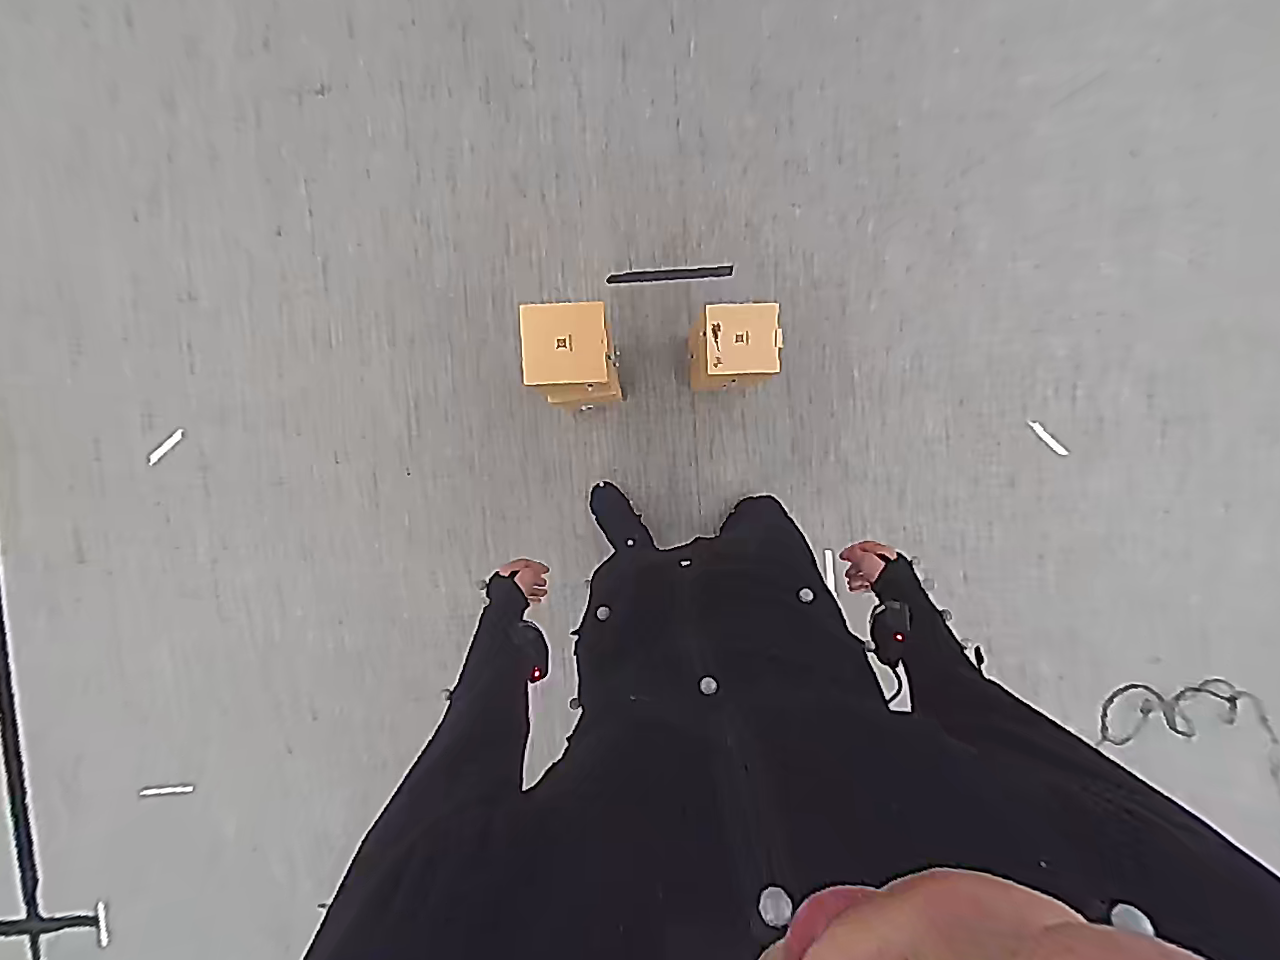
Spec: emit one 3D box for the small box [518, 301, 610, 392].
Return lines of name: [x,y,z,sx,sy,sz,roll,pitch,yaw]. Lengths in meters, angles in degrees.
small box: [-0.160,-0.285,1.184,0.179,0.176,0.168,-3,93,-1]

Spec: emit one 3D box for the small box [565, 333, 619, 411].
small box: [-0.153,-0.297,1.510,0.168,0.176,0.179,-10,94,-1]

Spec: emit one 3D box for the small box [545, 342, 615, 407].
small box: [-0.154,-0.283,1.347,0.168,0.176,0.179,-8,94,-1]

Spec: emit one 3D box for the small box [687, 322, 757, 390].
small box: [0.225,-0.346,1.522,0.179,0.176,0.168,-3,94,-3]

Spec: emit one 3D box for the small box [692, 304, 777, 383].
small box: [0.232,-0.338,1.358,0.179,0.176,0.168,-1,93,-3]
